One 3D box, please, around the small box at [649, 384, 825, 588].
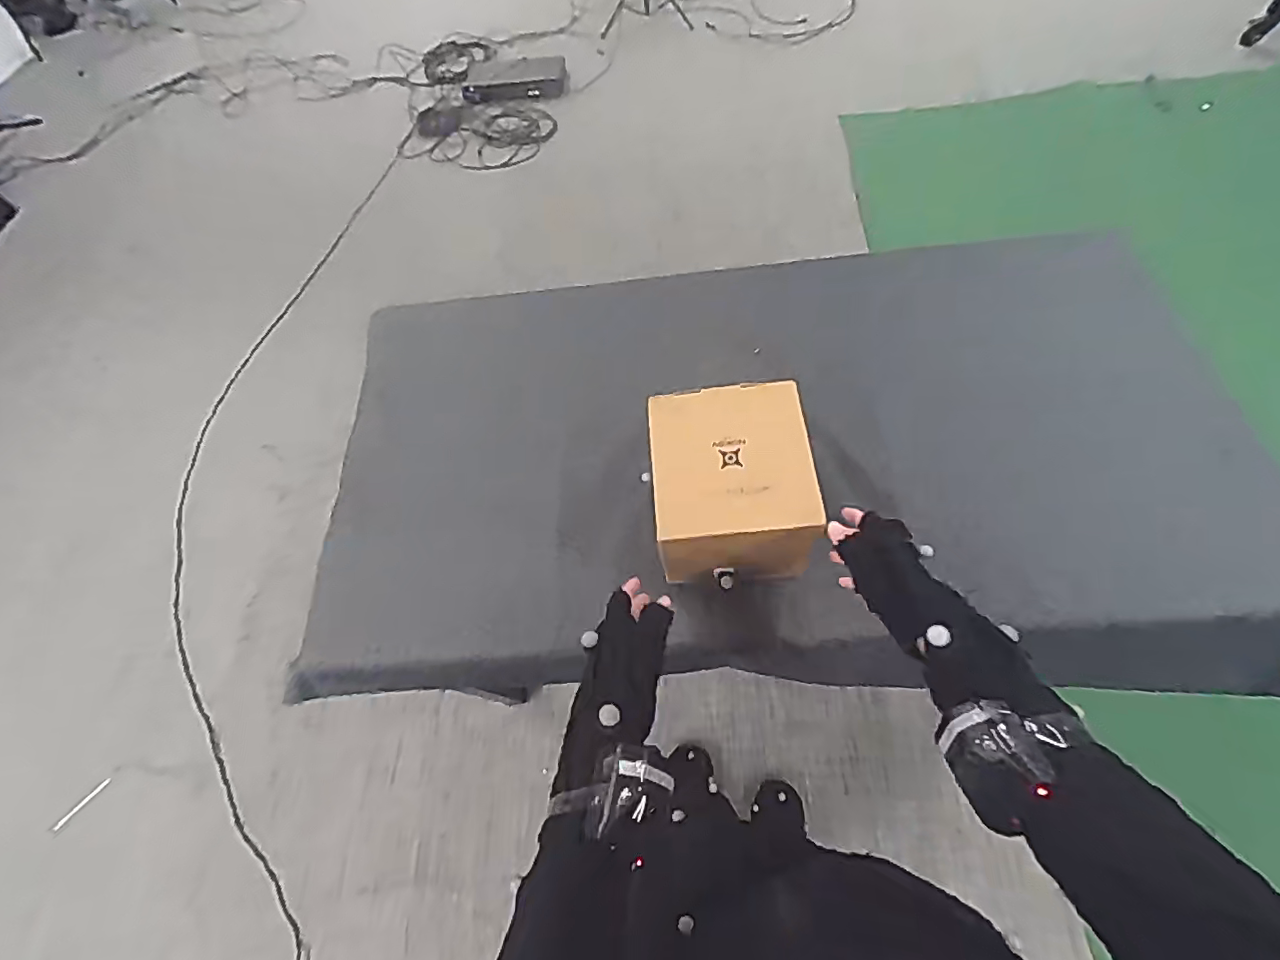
[{"bbox_3d":[0.104,0.014,0.639,0.168,0.176,0.179,-7,63,5],"label":"small box"}]
